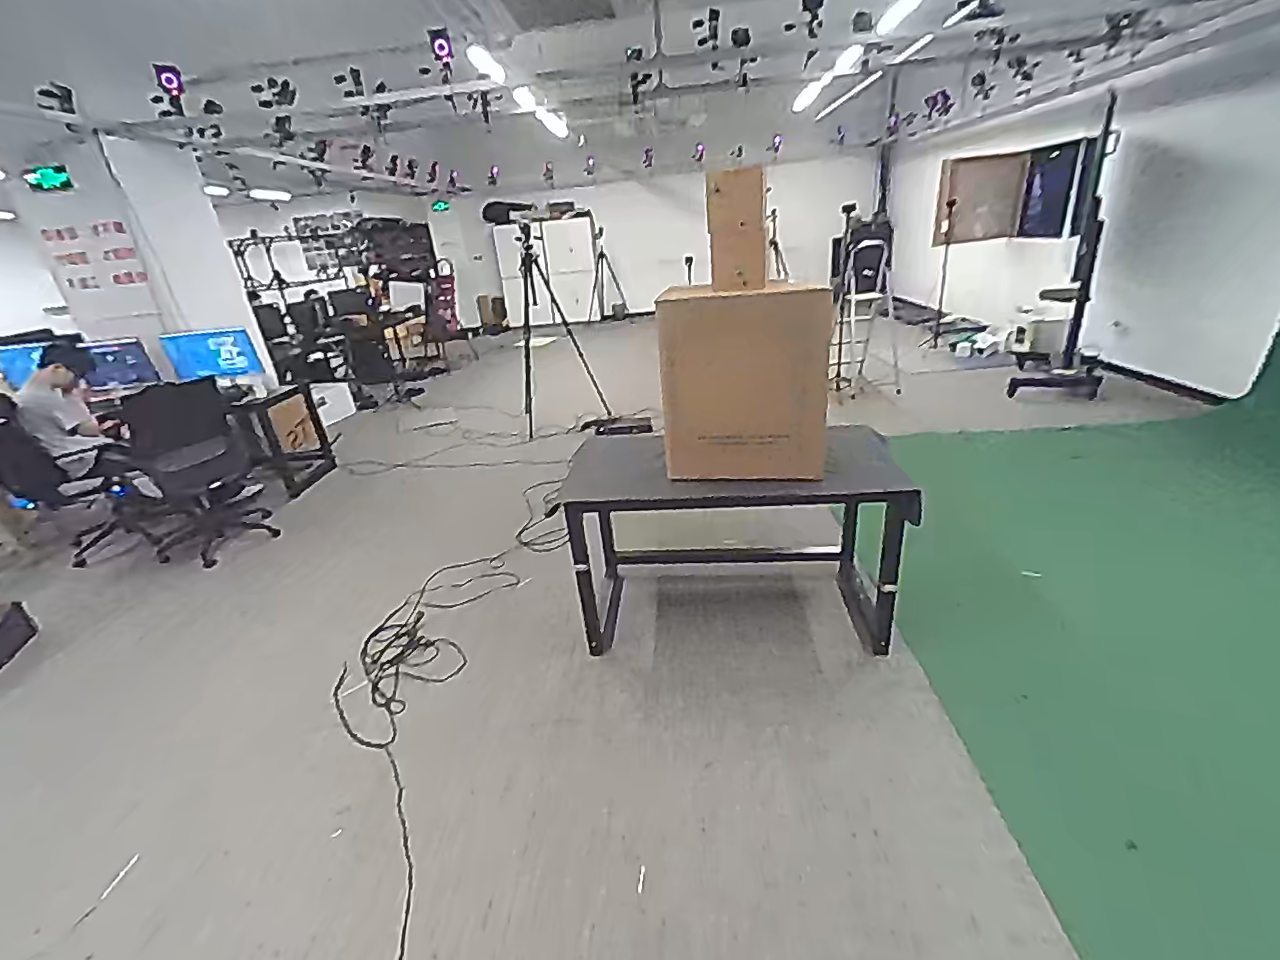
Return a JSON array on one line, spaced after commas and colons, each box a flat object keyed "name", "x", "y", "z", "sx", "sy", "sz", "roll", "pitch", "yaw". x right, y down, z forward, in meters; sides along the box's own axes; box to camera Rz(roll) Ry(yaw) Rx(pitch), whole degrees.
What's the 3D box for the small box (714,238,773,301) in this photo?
[{"name": "small box", "x": 0.332, "y": -0.672, "z": 1.725, "sx": 0.168, "sy": 0.176, "sz": 0.179, "roll": 3, "pitch": 27, "yaw": 16}]
